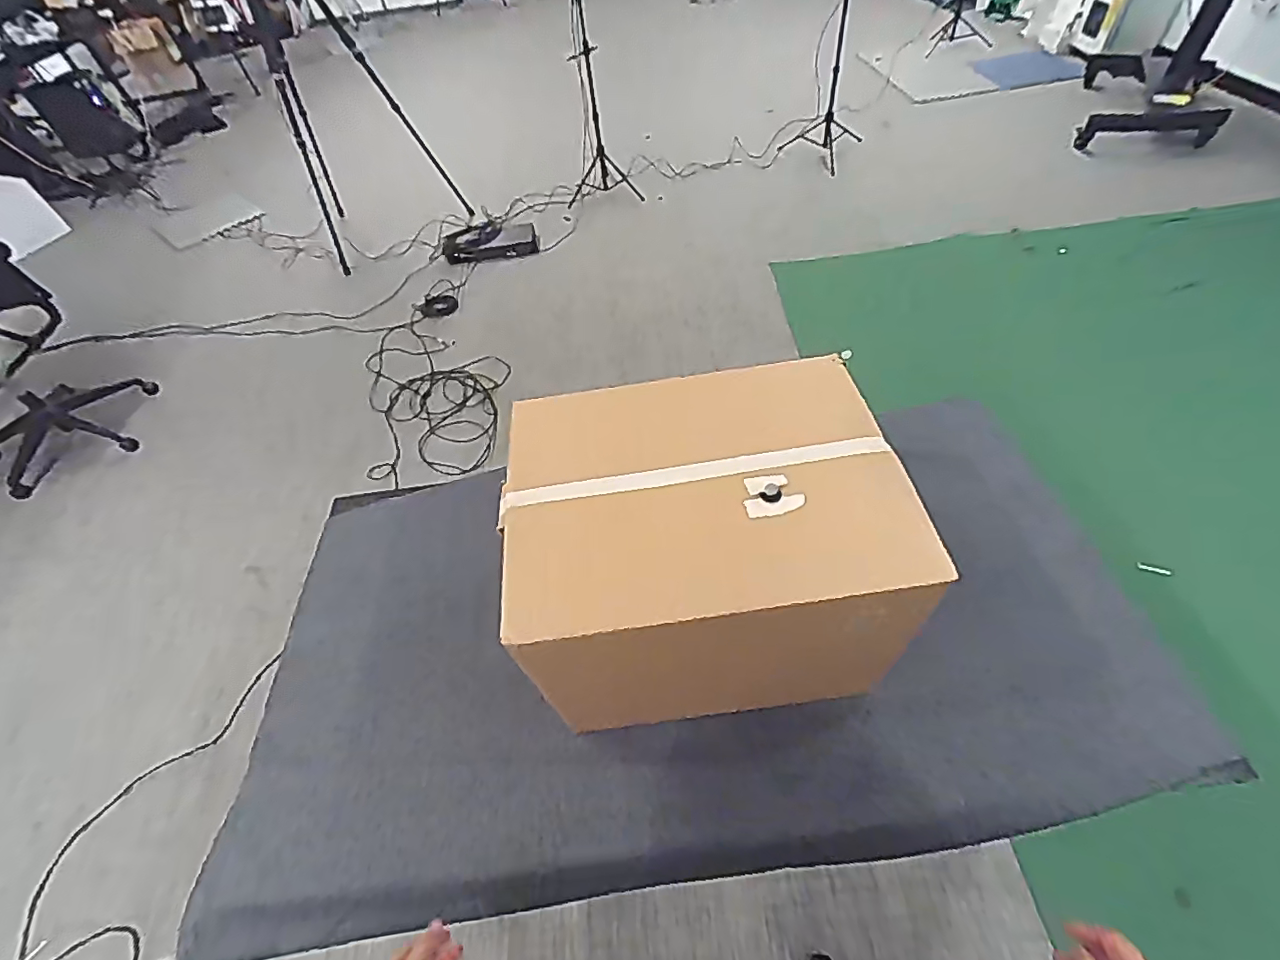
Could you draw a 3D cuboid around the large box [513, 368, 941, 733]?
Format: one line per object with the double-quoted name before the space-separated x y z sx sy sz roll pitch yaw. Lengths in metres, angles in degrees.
"large box" 0.074 0.099 0.695 0.408 0.320 0.320 -8 52 0
